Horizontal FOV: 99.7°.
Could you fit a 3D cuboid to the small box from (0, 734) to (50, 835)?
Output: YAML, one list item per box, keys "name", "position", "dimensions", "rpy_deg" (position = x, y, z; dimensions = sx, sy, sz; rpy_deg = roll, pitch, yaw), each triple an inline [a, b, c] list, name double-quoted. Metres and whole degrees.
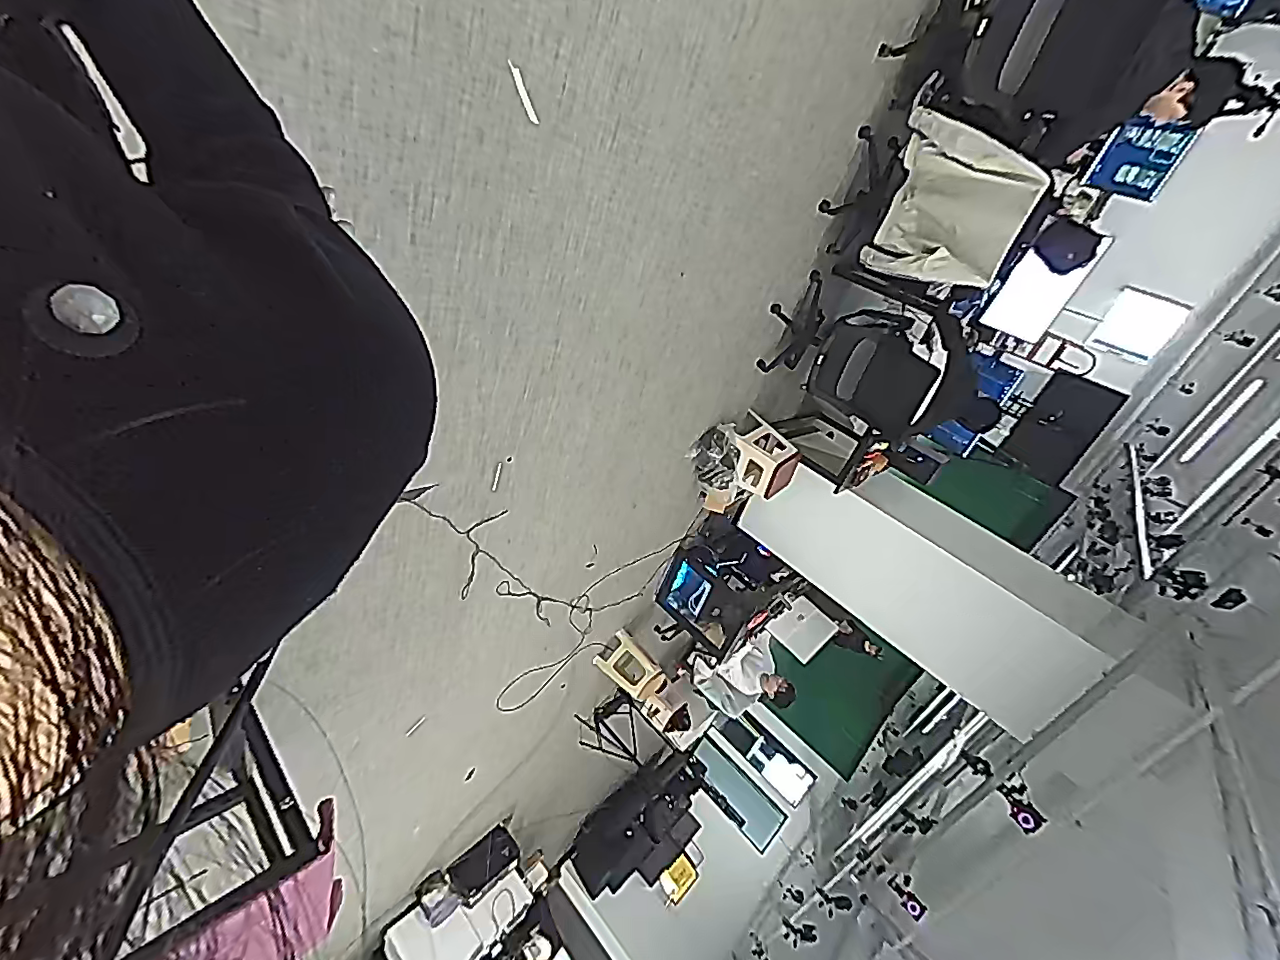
- name: "small box"
  position: [-1.698, 0.814, 1.421]
  dimensions: [0.168, 0.176, 0.179]
  rpy_deg: [-17, 136, -47]
